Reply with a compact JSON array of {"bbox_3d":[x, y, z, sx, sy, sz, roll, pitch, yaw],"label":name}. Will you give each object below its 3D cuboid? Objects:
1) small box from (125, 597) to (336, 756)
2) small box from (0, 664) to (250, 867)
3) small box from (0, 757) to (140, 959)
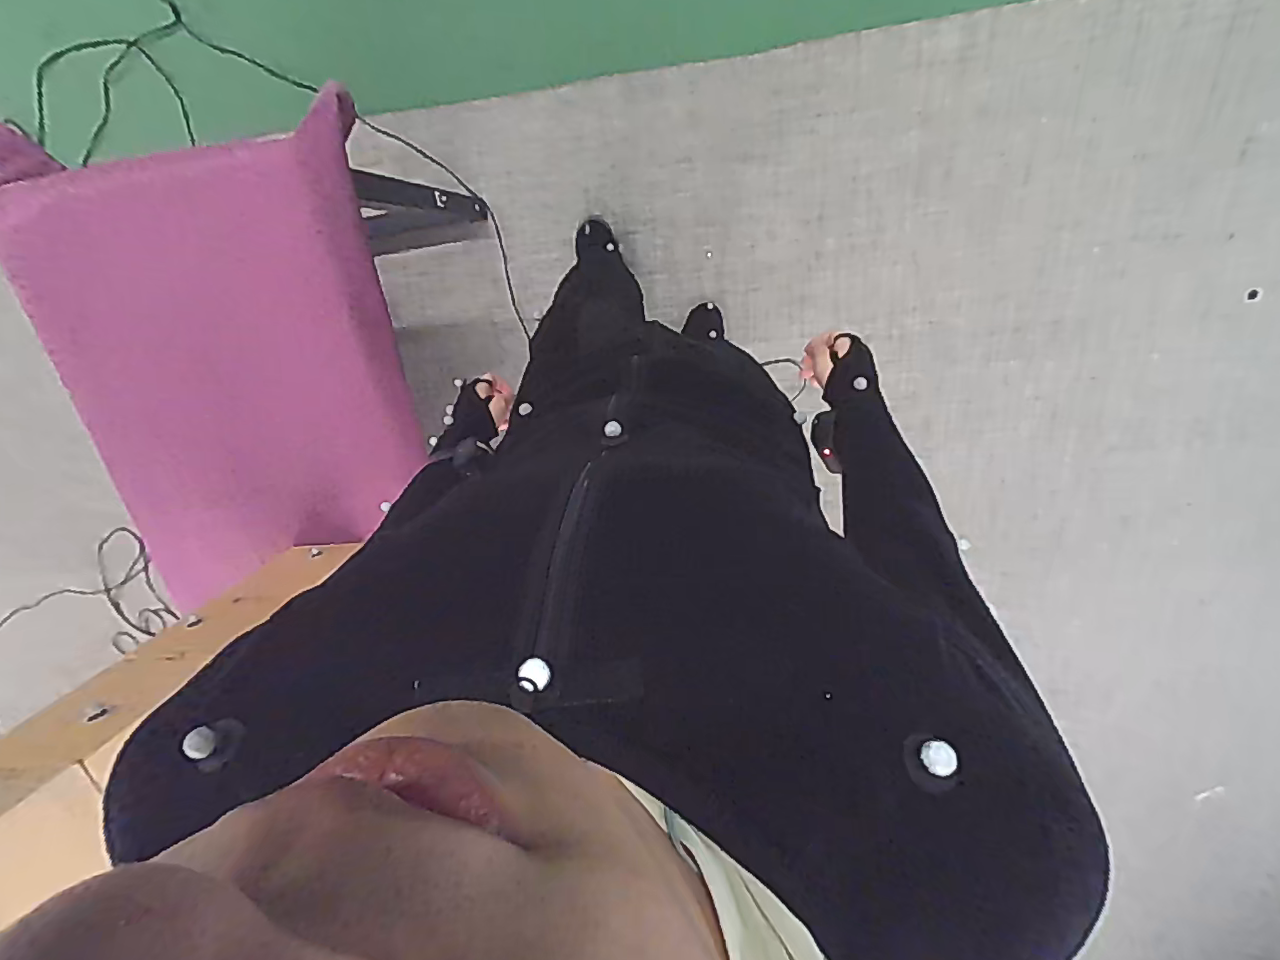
[{"bbox_3d":[-0.618,0.295,0.842,0.168,0.176,0.179,-4,110,11],"label":"small box"},{"bbox_3d":[-0.649,0.354,0.693,0.179,0.176,0.168,-5,109,11],"label":"small box"},{"bbox_3d":[-0.671,0.411,0.540,0.168,0.176,0.179,-5,109,11],"label":"small box"}]
